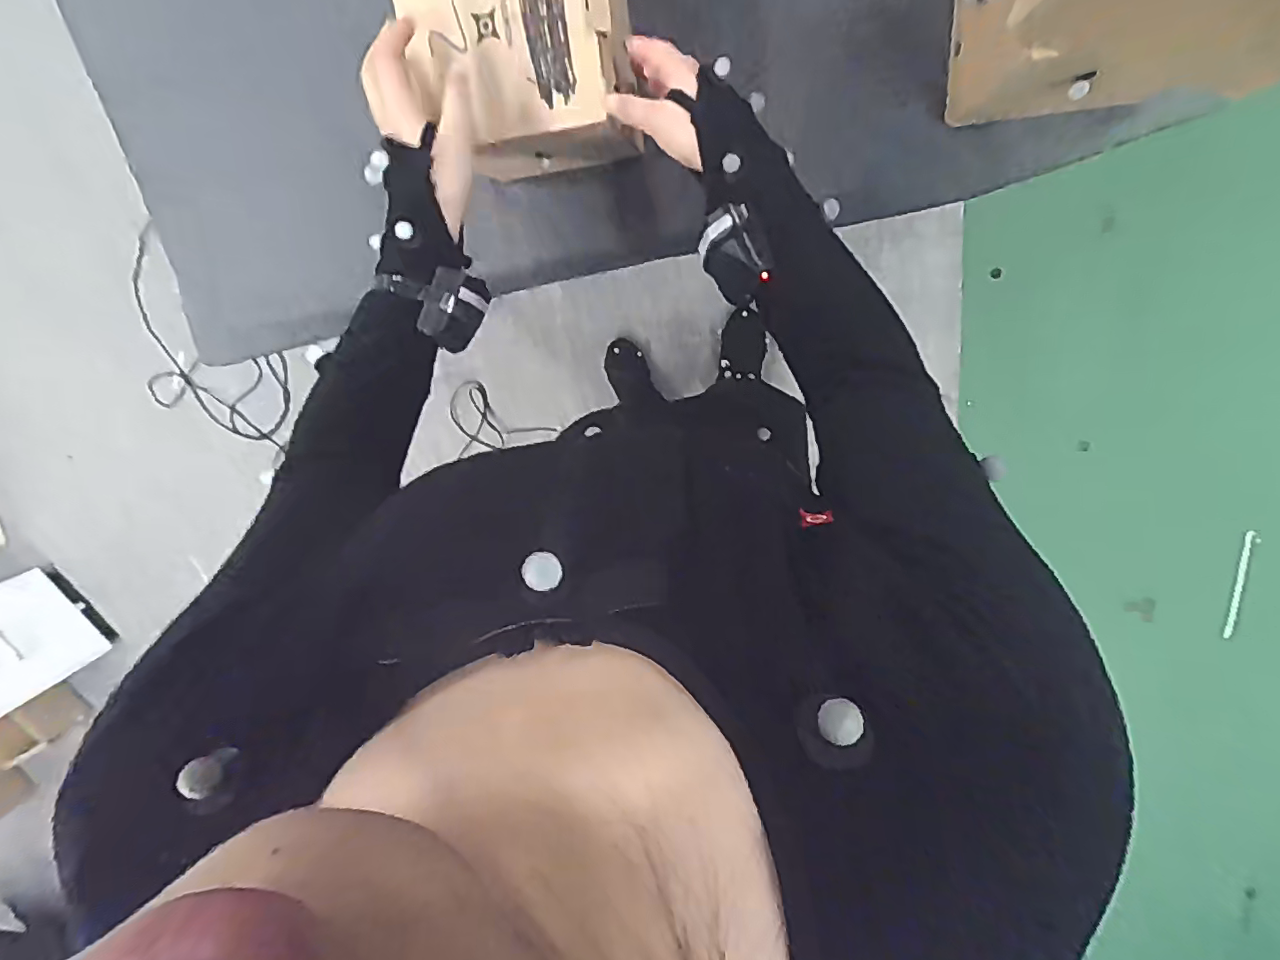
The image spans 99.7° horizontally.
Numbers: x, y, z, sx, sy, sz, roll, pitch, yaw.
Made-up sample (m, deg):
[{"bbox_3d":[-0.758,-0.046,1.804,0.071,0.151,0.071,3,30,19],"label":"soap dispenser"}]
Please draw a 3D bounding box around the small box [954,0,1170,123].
[{"bbox_3d":[0.372,-0.404,0.425,0.179,0.176,0.168,-1,109,12],"label":"small box"}]

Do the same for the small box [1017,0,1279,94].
[{"bbox_3d":[0.349,-0.335,0.278,0.179,0.176,0.168,19,111,3],"label":"small box"}]
